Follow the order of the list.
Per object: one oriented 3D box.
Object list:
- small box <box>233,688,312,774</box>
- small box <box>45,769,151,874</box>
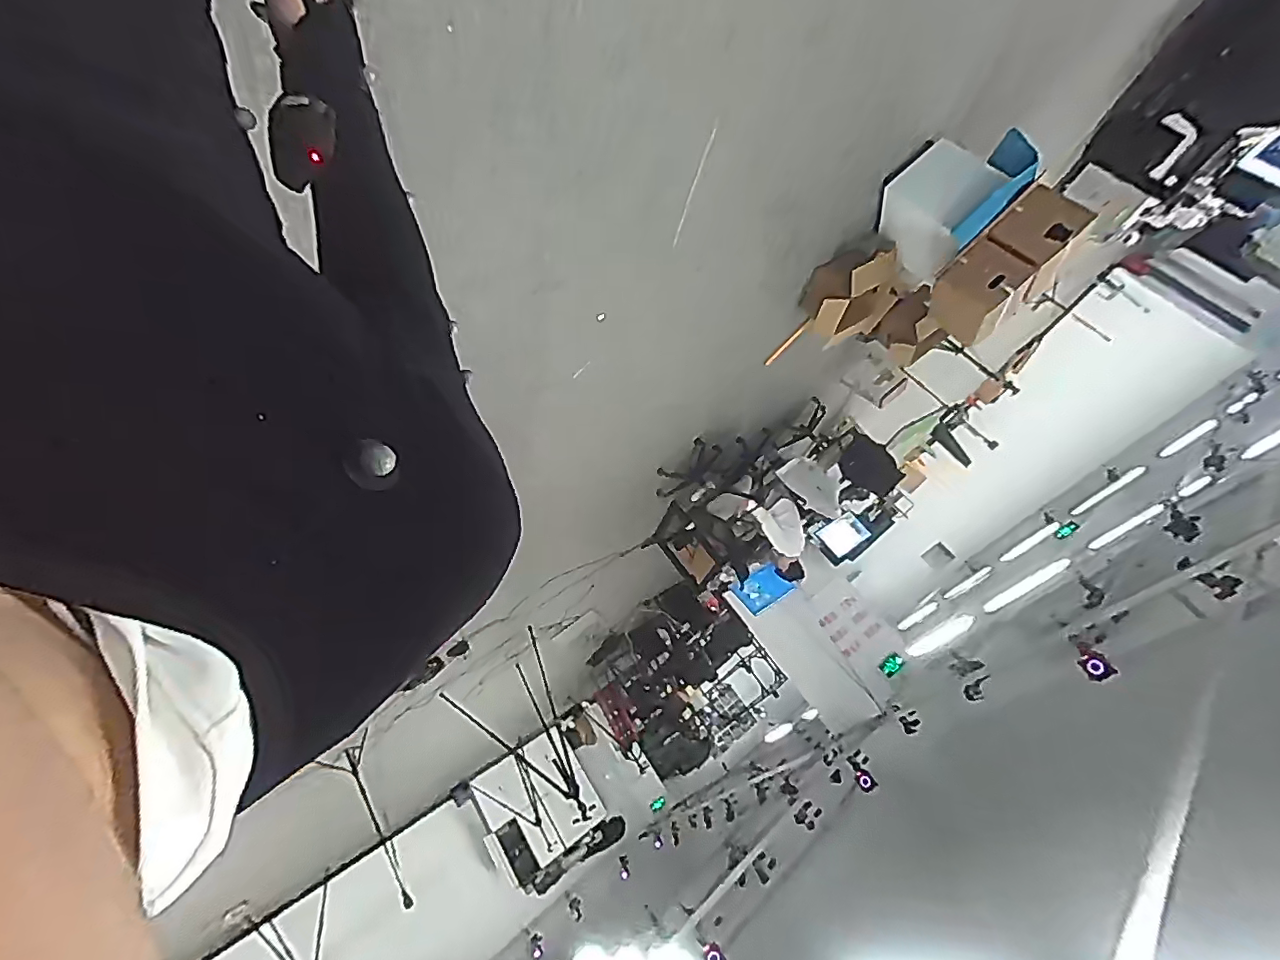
[{"bbox_3d":[-1.174,0.797,1.730,0.168,0.176,0.179,-20,151,-37],"label":"small box"},{"bbox_3d":[-1.497,0.932,1.487,0.168,0.176,0.179,-21,150,-36],"label":"small box"}]
